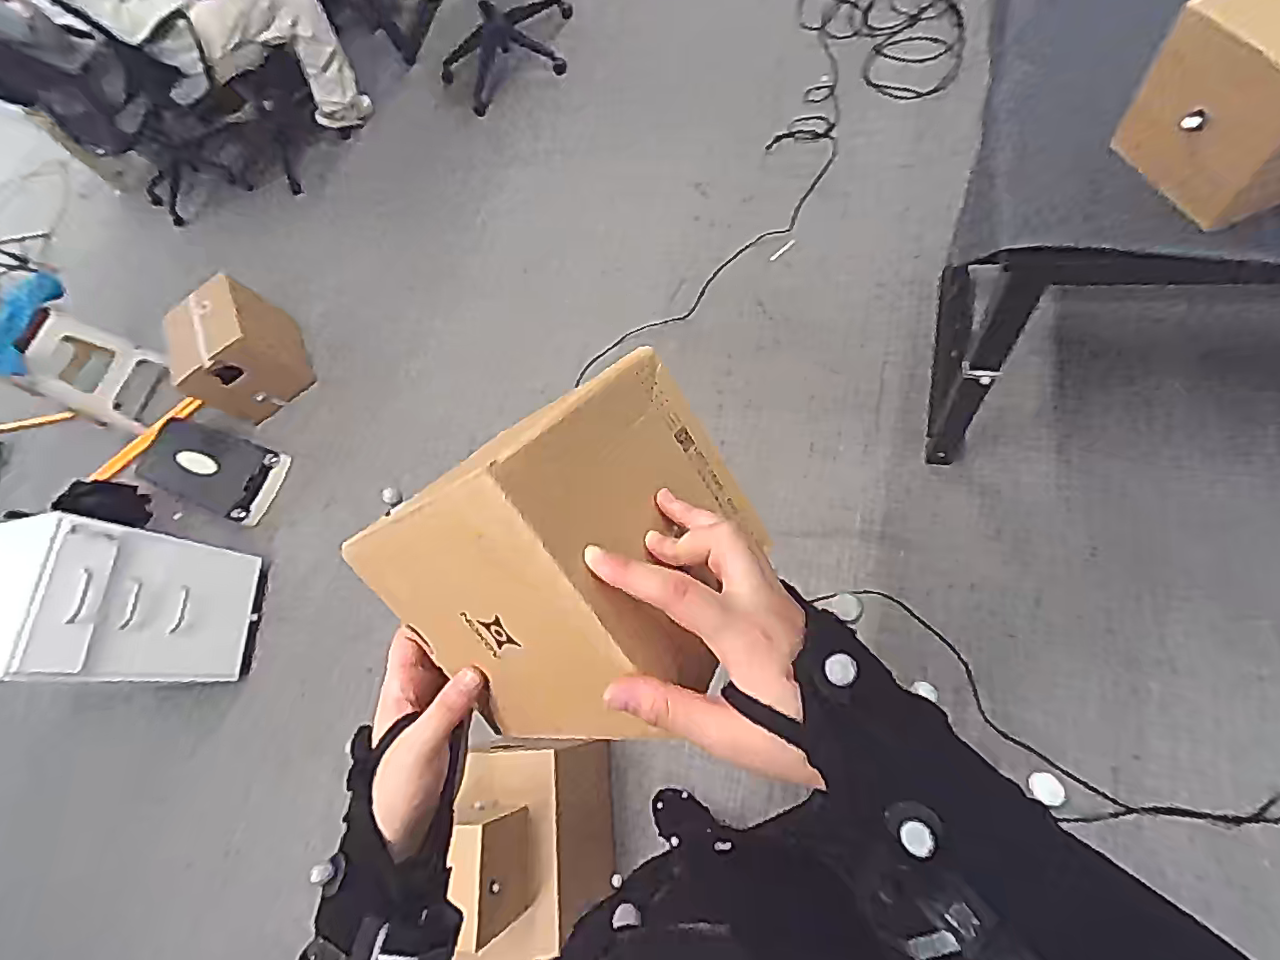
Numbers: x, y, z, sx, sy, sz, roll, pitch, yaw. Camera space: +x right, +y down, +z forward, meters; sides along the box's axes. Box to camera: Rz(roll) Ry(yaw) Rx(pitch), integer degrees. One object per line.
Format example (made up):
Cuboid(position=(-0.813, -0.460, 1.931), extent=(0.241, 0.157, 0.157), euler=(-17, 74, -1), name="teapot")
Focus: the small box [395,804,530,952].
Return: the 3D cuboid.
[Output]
Cuboid(position=(-0.309, 0.701, 0.972), extent=(0.168, 0.176, 0.179), euler=(-9, 67, 14), name="small box")
